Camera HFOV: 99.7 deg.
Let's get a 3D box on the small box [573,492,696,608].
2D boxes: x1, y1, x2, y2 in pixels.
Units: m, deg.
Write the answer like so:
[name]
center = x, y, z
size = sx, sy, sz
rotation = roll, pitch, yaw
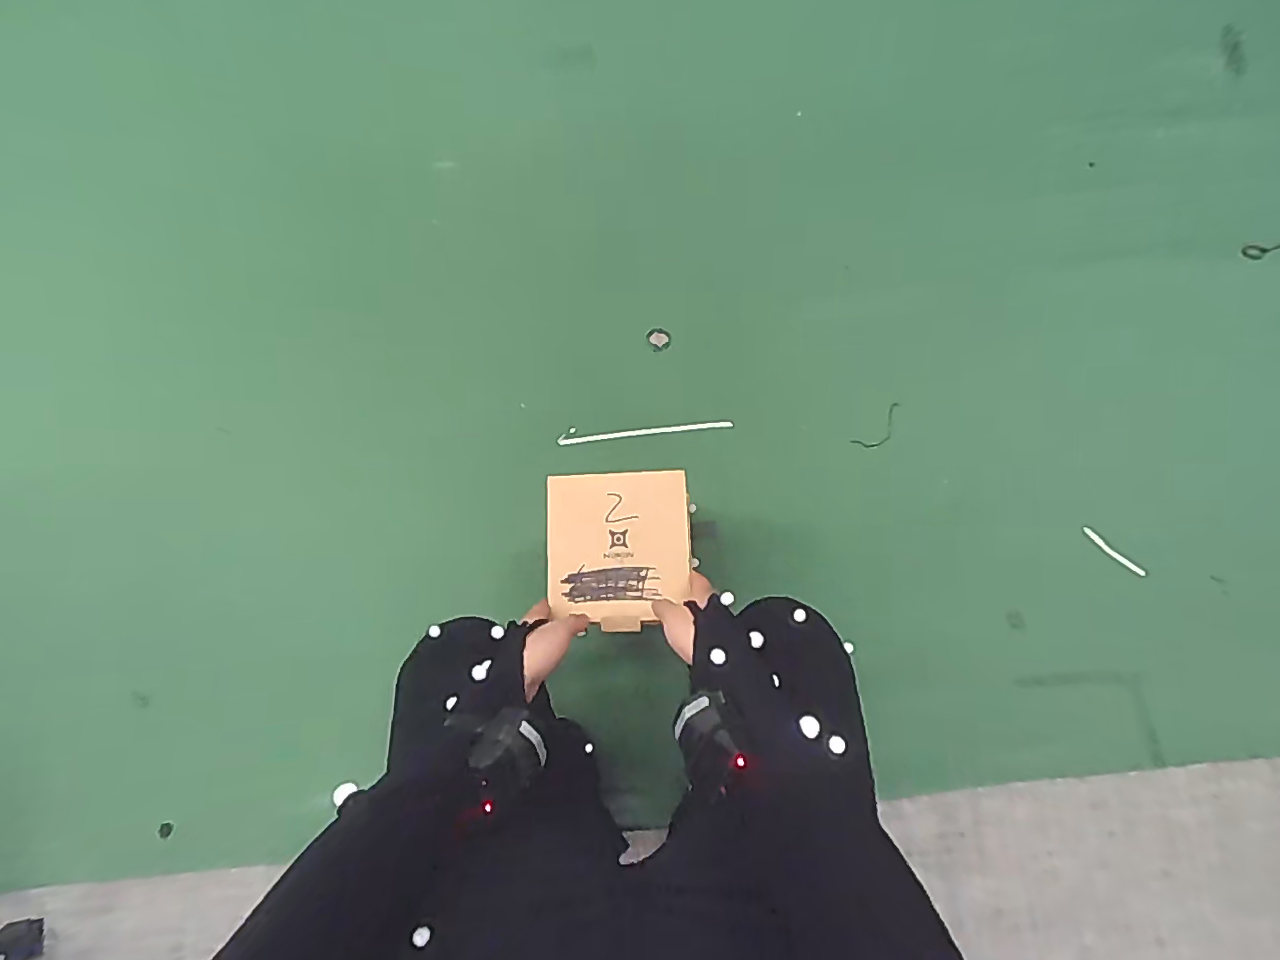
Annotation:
[small box]
center = -0.008, 0.111, 0.860
size = 0.179, 0.176, 0.168
rotation = -3, 81, 2
